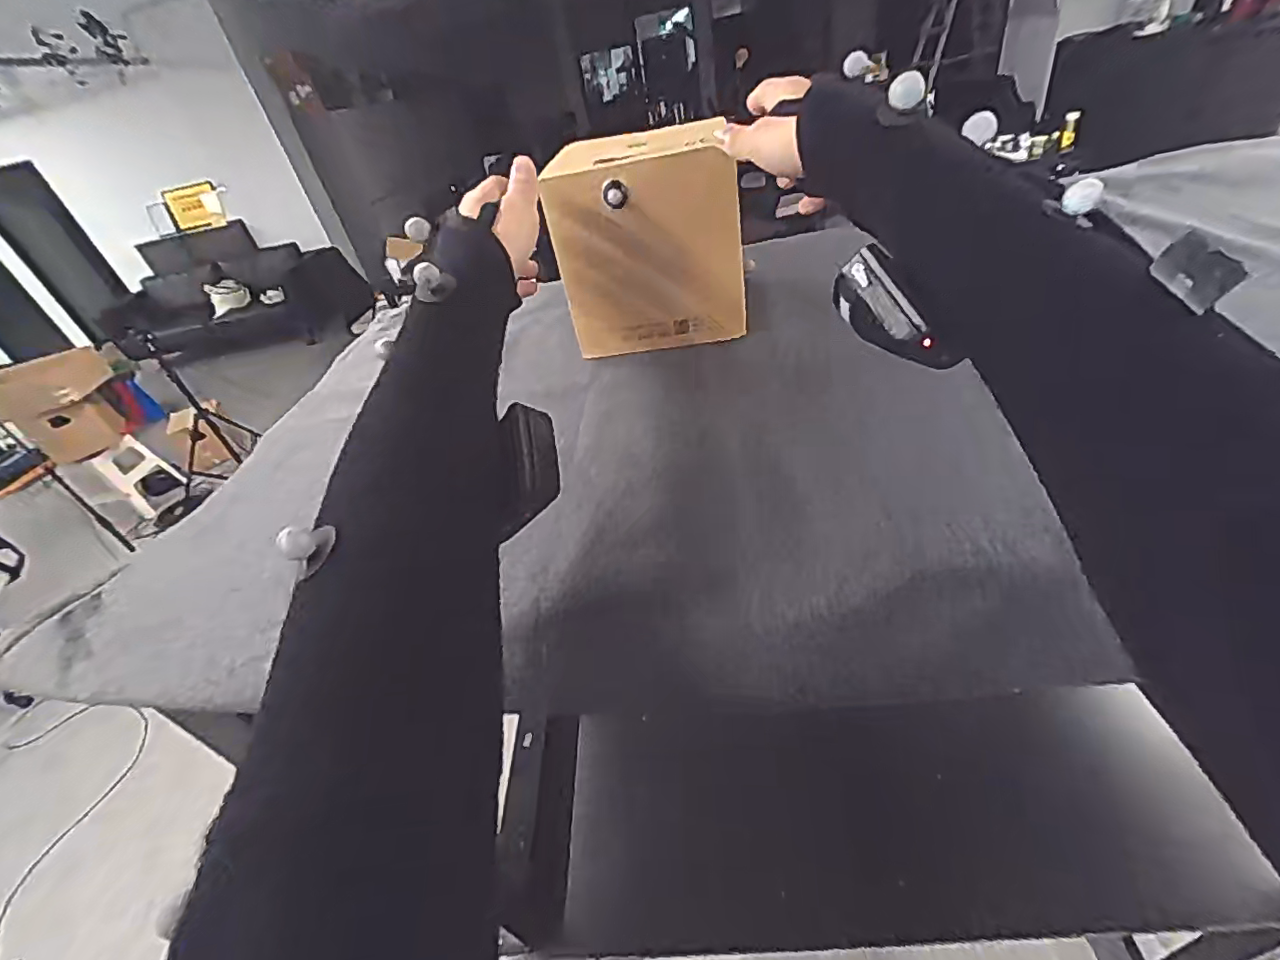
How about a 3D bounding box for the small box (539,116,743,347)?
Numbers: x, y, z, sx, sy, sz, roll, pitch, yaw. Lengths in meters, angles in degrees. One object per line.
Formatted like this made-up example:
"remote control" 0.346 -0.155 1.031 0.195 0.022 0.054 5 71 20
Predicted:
"small box" 0.014 -0.253 0.552 0.168 0.176 0.179 -5 38 10
